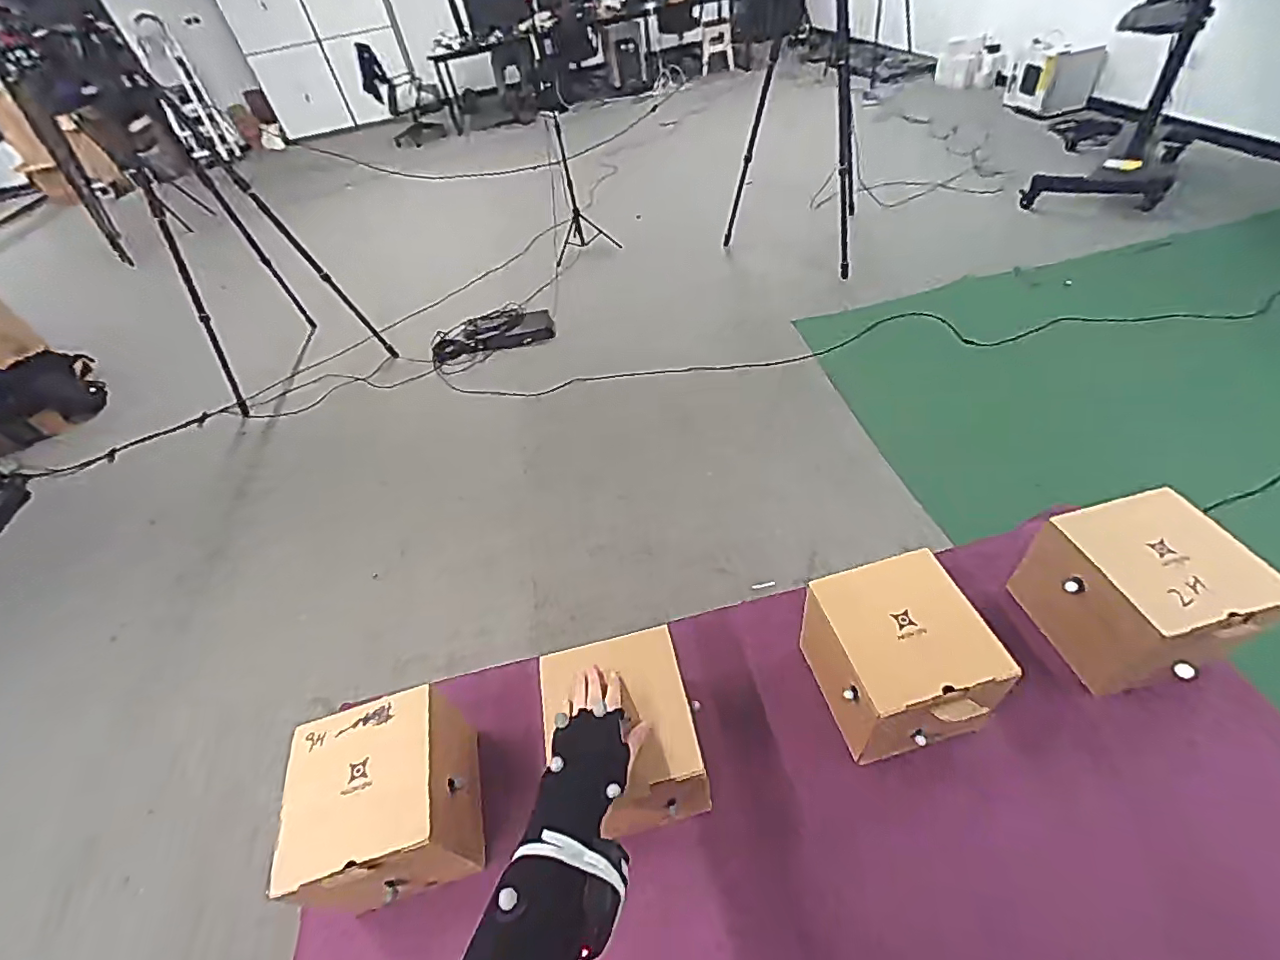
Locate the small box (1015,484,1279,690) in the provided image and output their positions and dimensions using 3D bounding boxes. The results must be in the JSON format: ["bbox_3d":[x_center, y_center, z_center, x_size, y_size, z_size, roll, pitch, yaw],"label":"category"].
[{"bbox_3d":[0.630,0.137,0.692,0.168,0.176,0.179,-15,46,-1],"label":"small box"}]

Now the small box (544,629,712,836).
[{"bbox_3d":[-0.013,0.317,0.668,0.168,0.176,0.179,-14,46,-2],"label":"small box"}]

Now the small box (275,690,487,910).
[{"bbox_3d":[-0.296,0.392,0.656,0.168,0.176,0.179,-17,47,-5],"label":"small box"}]

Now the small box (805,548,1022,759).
[{"bbox_3d":[0.323,0.221,0.687,0.168,0.176,0.179,-16,47,-3],"label":"small box"}]
